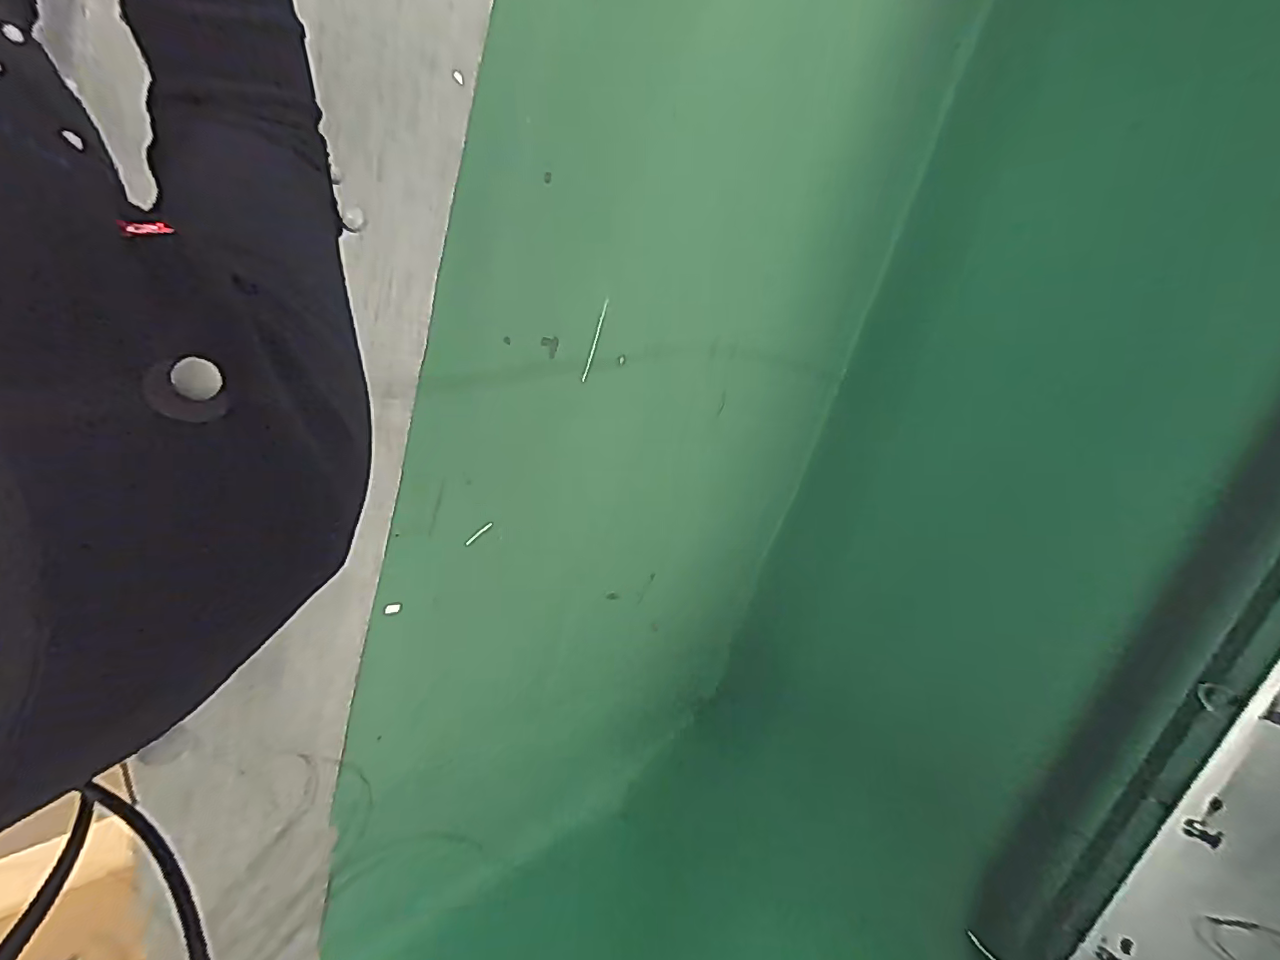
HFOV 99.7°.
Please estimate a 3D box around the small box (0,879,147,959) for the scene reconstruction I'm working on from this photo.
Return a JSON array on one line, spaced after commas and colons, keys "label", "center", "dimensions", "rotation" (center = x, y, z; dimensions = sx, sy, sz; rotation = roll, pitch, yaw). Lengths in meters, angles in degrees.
[{"label": "small box", "center": [-0.814, 0.709, 0.740], "dimensions": [0.179, 0.176, 0.168], "rotation": [1, 109, -52]}]
